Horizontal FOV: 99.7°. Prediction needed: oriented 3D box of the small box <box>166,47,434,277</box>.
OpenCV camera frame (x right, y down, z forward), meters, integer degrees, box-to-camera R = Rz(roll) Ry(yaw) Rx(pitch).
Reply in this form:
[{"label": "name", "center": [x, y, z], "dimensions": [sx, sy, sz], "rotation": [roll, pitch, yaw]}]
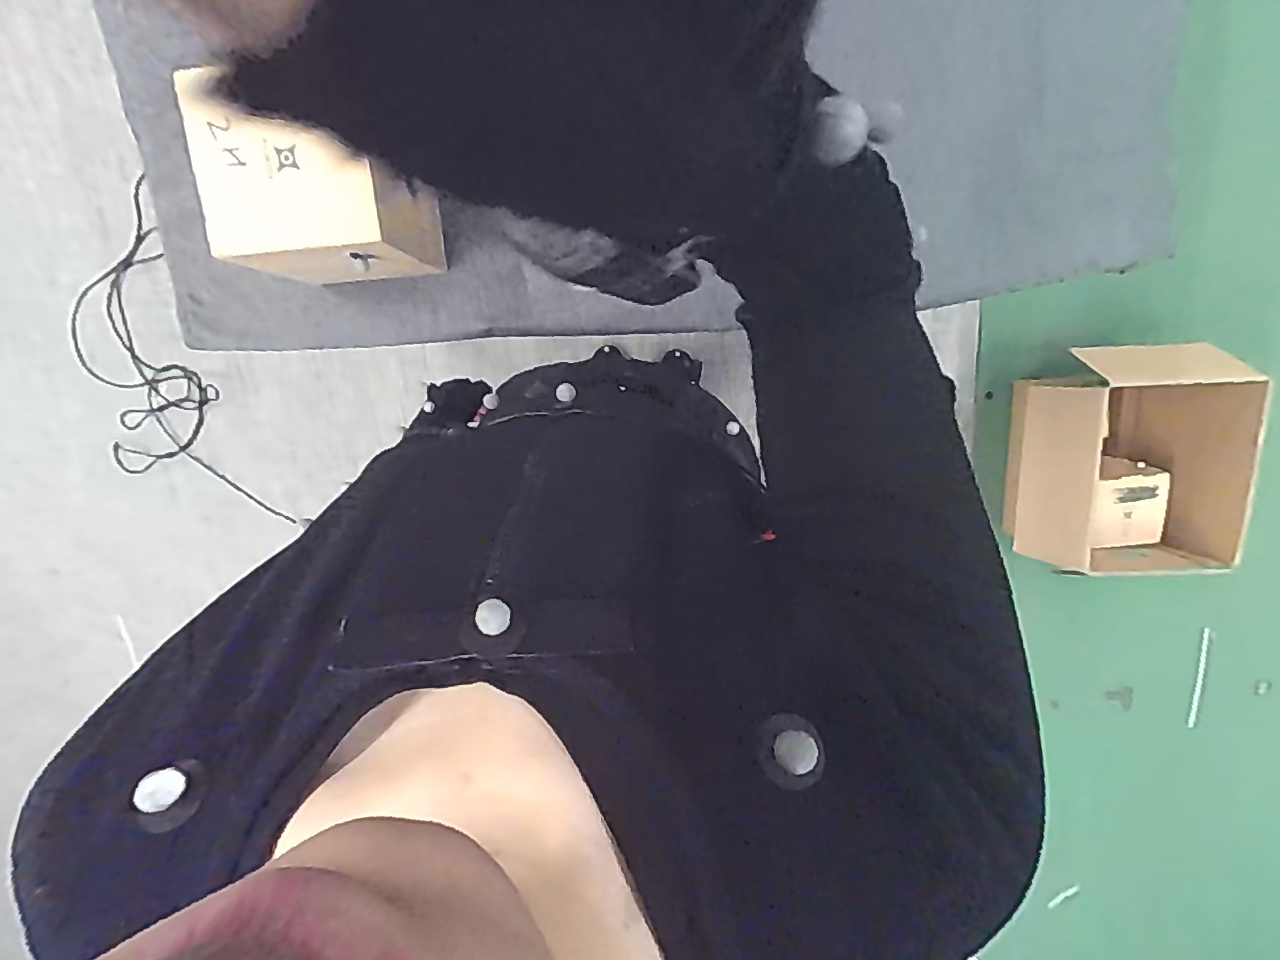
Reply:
[{"label": "small box", "center": [-0.340, -0.323, 0.585], "dimensions": [0.179, 0.176, 0.168], "rotation": [-4, 101, 3]}]
